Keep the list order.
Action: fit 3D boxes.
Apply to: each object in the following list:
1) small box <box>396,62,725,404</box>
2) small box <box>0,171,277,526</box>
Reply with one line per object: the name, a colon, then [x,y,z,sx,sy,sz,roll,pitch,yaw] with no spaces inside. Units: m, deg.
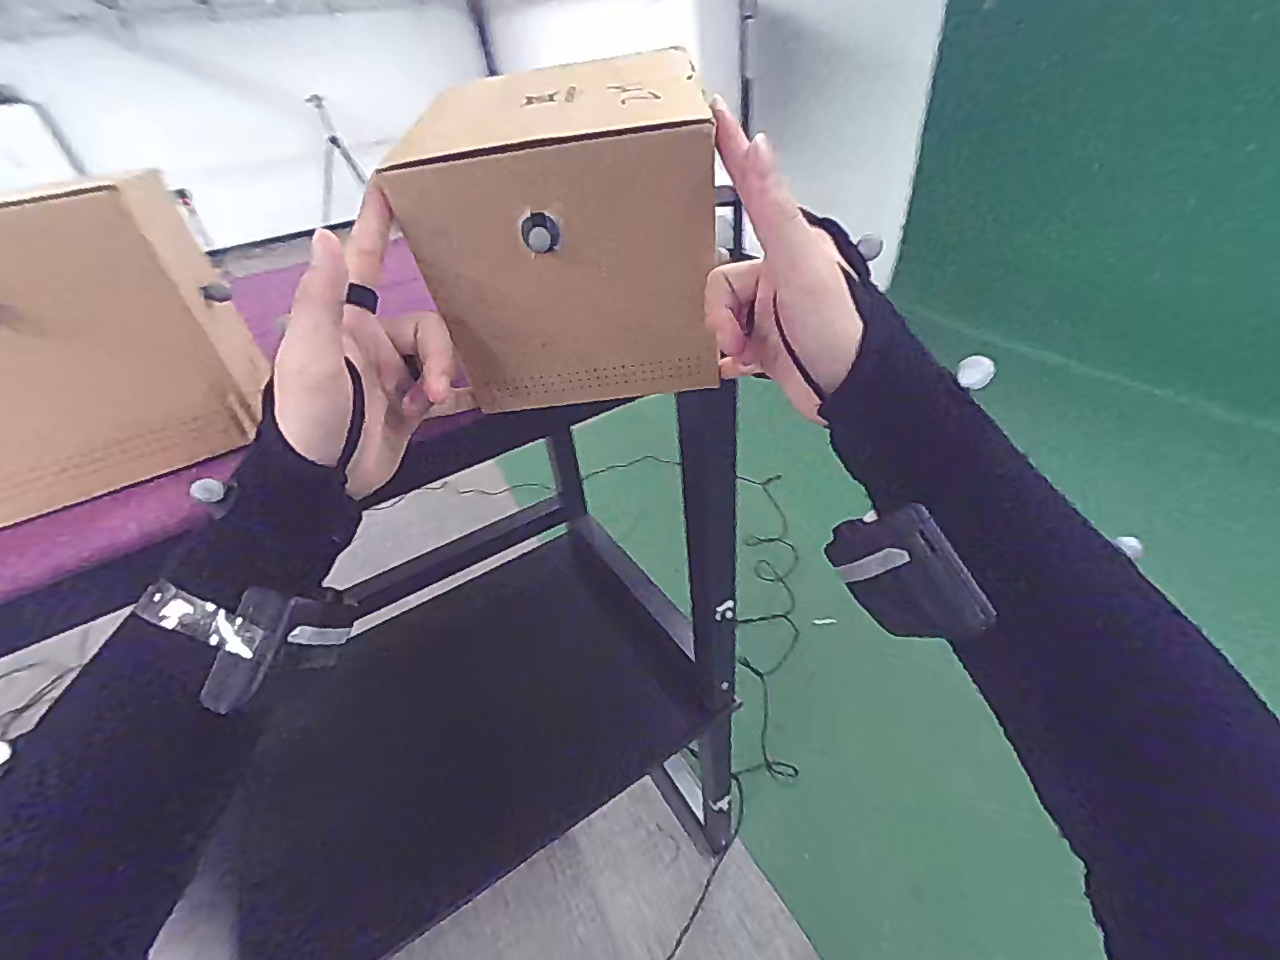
small box: [-0.035,-0.170,0.389,0.179,0.176,0.168,-5,48,4]
small box: [-0.383,-0.100,0.378,0.179,0.176,0.168,-25,40,-20]
